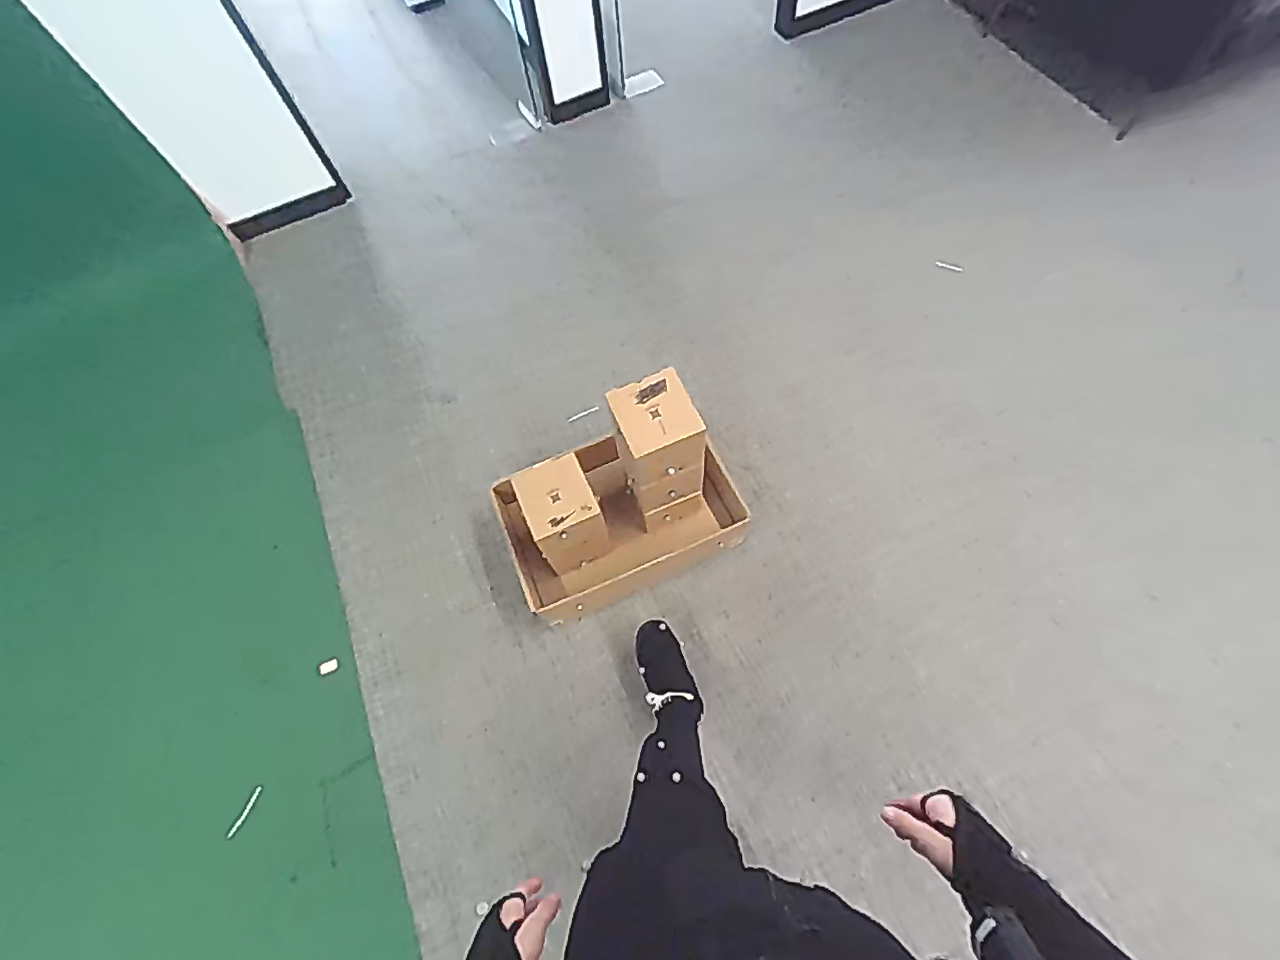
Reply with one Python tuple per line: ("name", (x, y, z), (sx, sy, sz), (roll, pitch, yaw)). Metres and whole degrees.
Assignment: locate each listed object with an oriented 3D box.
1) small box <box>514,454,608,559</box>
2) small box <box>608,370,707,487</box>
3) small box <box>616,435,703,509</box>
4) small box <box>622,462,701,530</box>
("small box", (-0.191, 0.069, 1.333), (0.168, 0.176, 0.179), (-24, 67, -7))
("small box", (0.039, -0.111, 1.221), (0.168, 0.176, 0.179), (-22, 68, -5))
("small box", (0.052, -0.043, 1.370), (0.168, 0.176, 0.179), (-22, 66, -5))
("small box", (0.064, 0.026, 1.519), (0.168, 0.176, 0.179), (-22, 67, -5))
